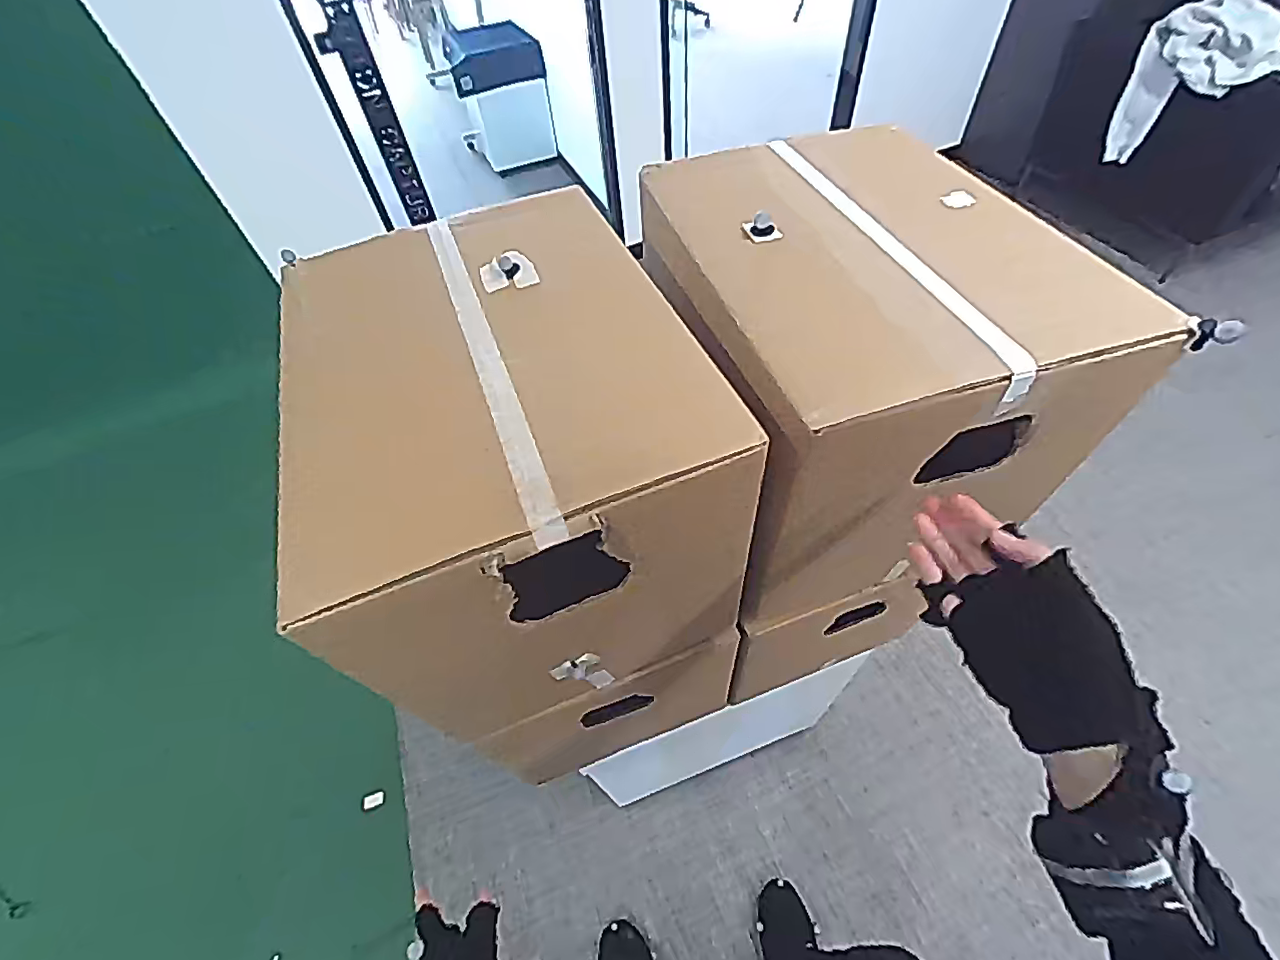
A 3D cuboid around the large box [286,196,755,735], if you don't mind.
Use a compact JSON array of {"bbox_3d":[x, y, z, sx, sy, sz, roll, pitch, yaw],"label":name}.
[{"bbox_3d":[-0.120,-0.024,0.564,0.320,0.320,0.408,-20,53,-10],"label":"large box"}]
